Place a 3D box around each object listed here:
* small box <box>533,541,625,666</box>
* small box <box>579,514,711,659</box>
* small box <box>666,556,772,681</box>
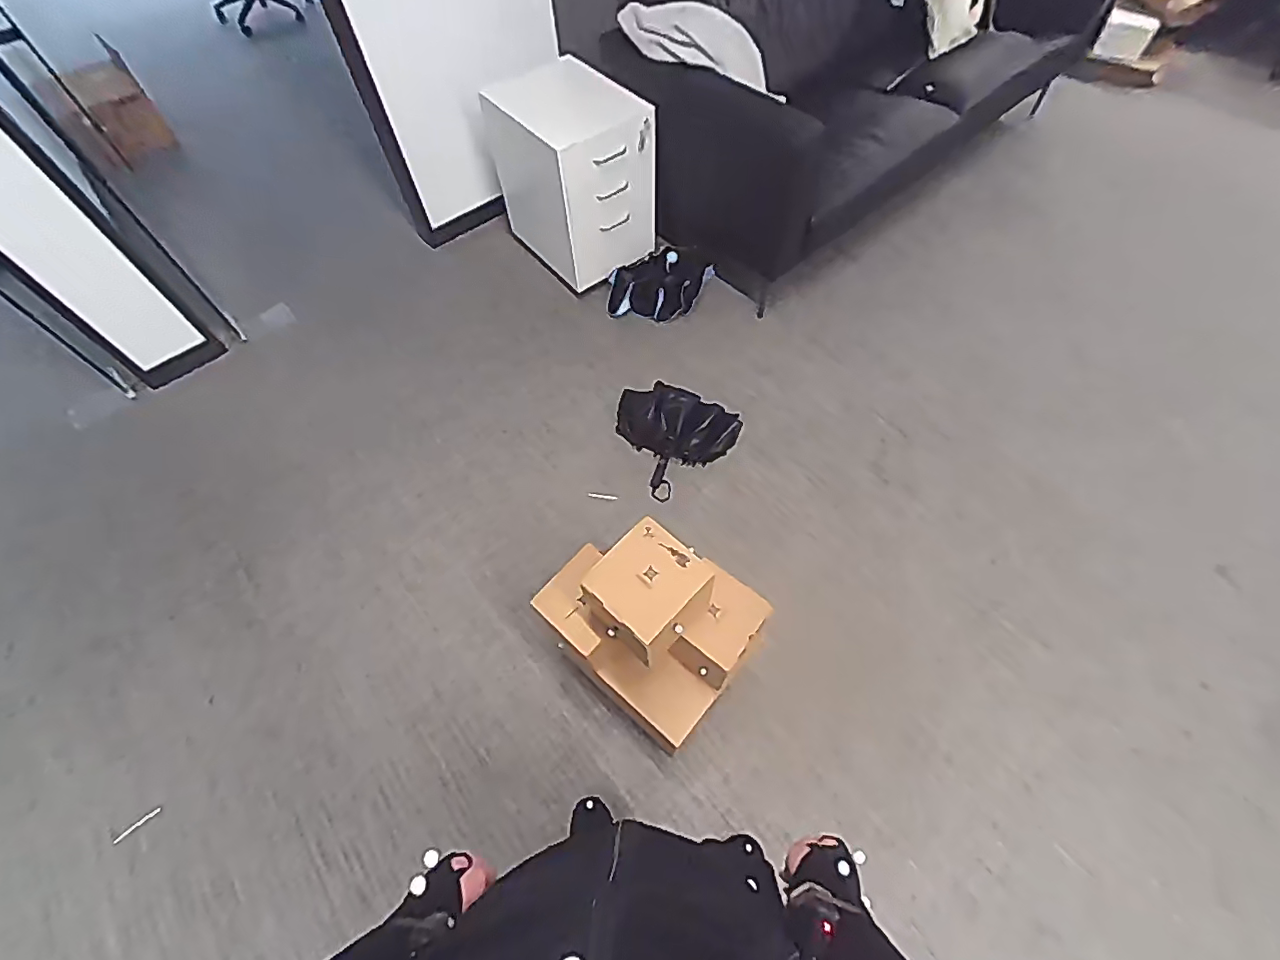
[{"bbox_3d":[-0.099,0.268,1.160,0.168,0.176,0.179,38,70,22],"label":"small box"},{"bbox_3d":[0.015,0.203,1.002,0.168,0.176,0.179,40,69,23],"label":"small box"},{"bbox_3d":[0.148,0.298,1.134,0.179,0.176,0.168,33,63,21],"label":"small box"}]
